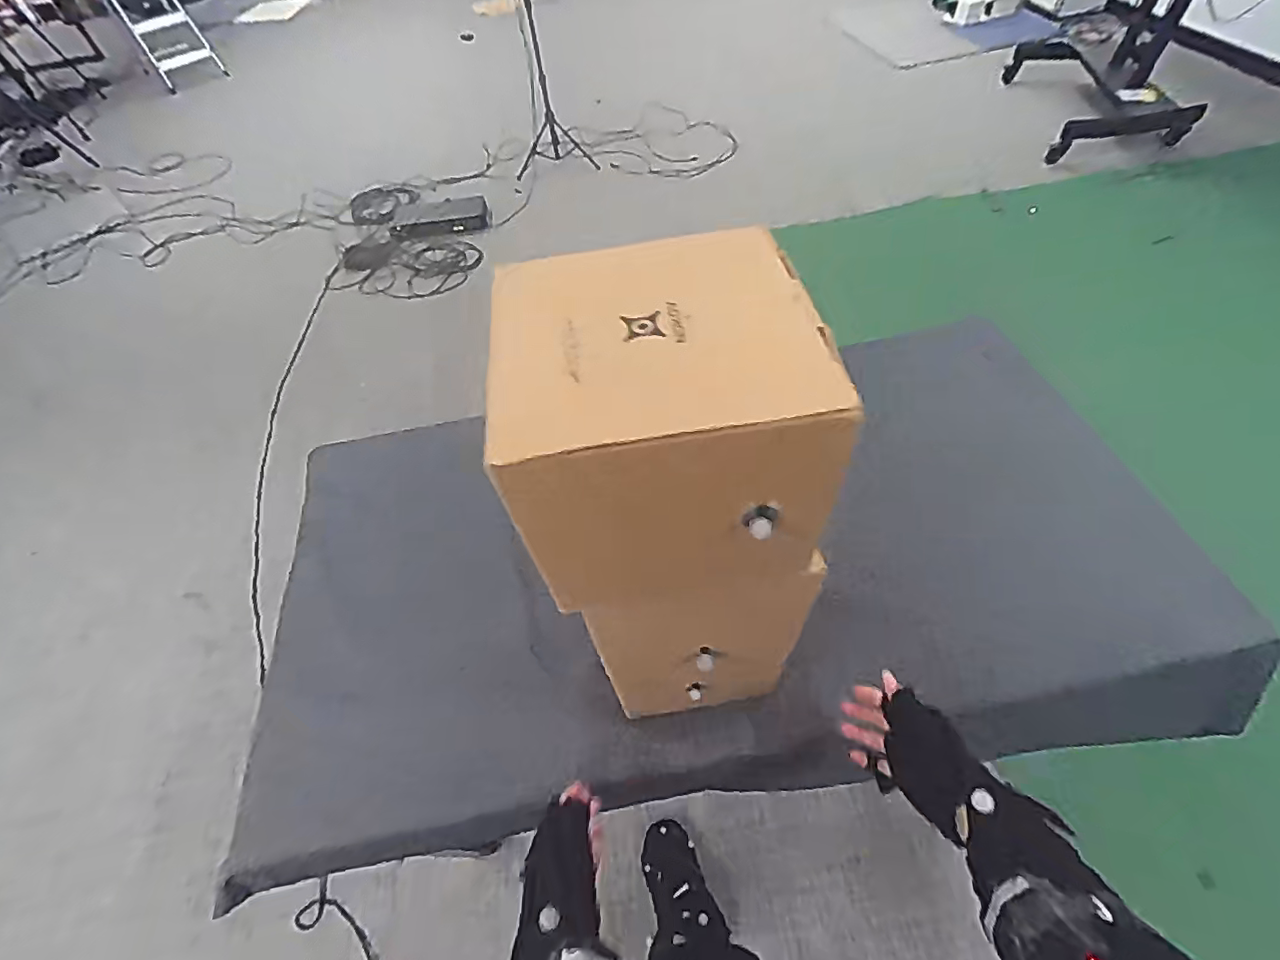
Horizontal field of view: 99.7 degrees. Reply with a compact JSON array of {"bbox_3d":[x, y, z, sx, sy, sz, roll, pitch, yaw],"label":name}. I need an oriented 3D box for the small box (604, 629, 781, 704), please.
[{"bbox_3d":[0.048,0.147,0.627,0.179,0.176,0.168,-7,52,0],"label":"small box"}]

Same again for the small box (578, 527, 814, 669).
[{"bbox_3d":[0.035,0.058,0.494,0.179,0.176,0.168,-9,54,-1],"label":"small box"}]

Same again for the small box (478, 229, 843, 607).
[{"bbox_3d":[0.008,-0.033,0.361,0.179,0.176,0.168,-10,53,0],"label":"small box"}]
